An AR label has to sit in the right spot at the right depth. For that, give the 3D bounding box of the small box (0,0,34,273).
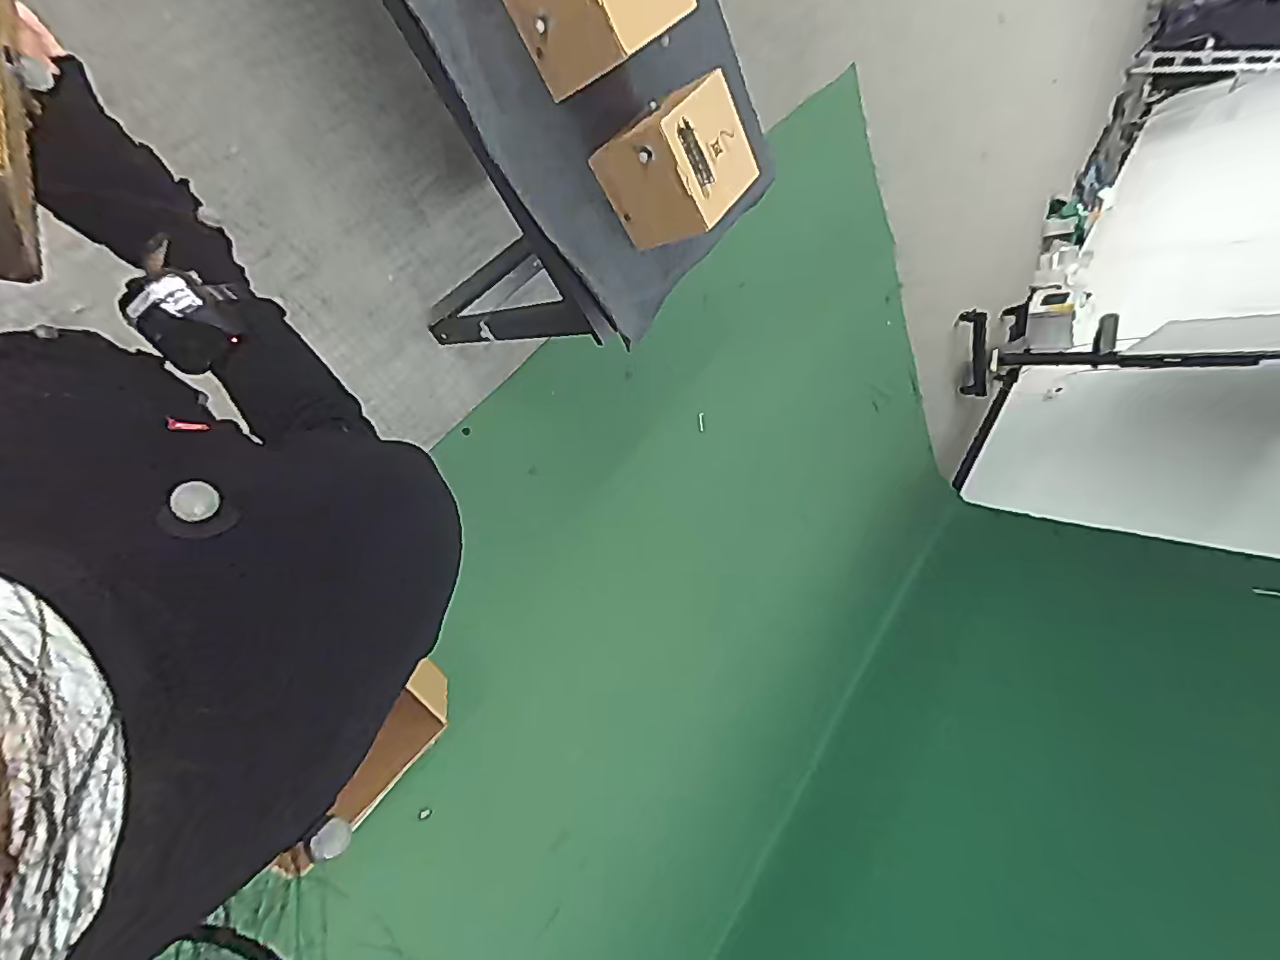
[{"bbox_3d":[-0.433,-0.230,0.268,0.168,0.176,0.179,-5,90,-45],"label":"small box"}]

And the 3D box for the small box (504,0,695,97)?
[{"bbox_3d":[-0.062,-0.675,0.744,0.179,0.176,0.168,-51,128,-22],"label":"small box"}]
